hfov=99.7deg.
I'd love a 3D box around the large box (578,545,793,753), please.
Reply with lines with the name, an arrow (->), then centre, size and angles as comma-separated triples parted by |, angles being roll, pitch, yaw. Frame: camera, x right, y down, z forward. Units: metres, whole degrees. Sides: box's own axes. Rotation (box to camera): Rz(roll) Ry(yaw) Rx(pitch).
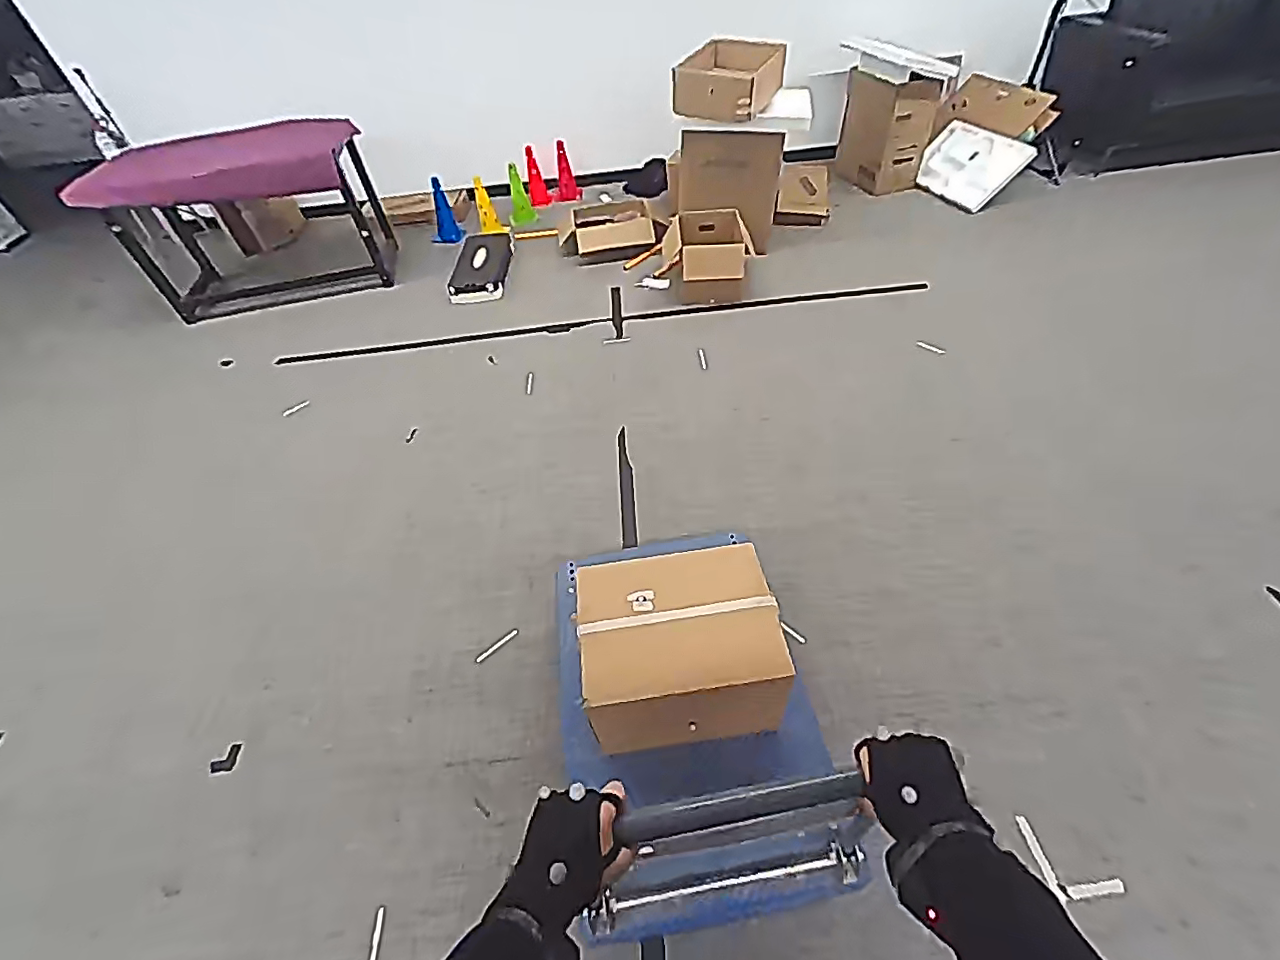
large box -> 0.092, 0.389, 1.235 | 0.408, 0.320, 0.320 | -9, 47, -1
